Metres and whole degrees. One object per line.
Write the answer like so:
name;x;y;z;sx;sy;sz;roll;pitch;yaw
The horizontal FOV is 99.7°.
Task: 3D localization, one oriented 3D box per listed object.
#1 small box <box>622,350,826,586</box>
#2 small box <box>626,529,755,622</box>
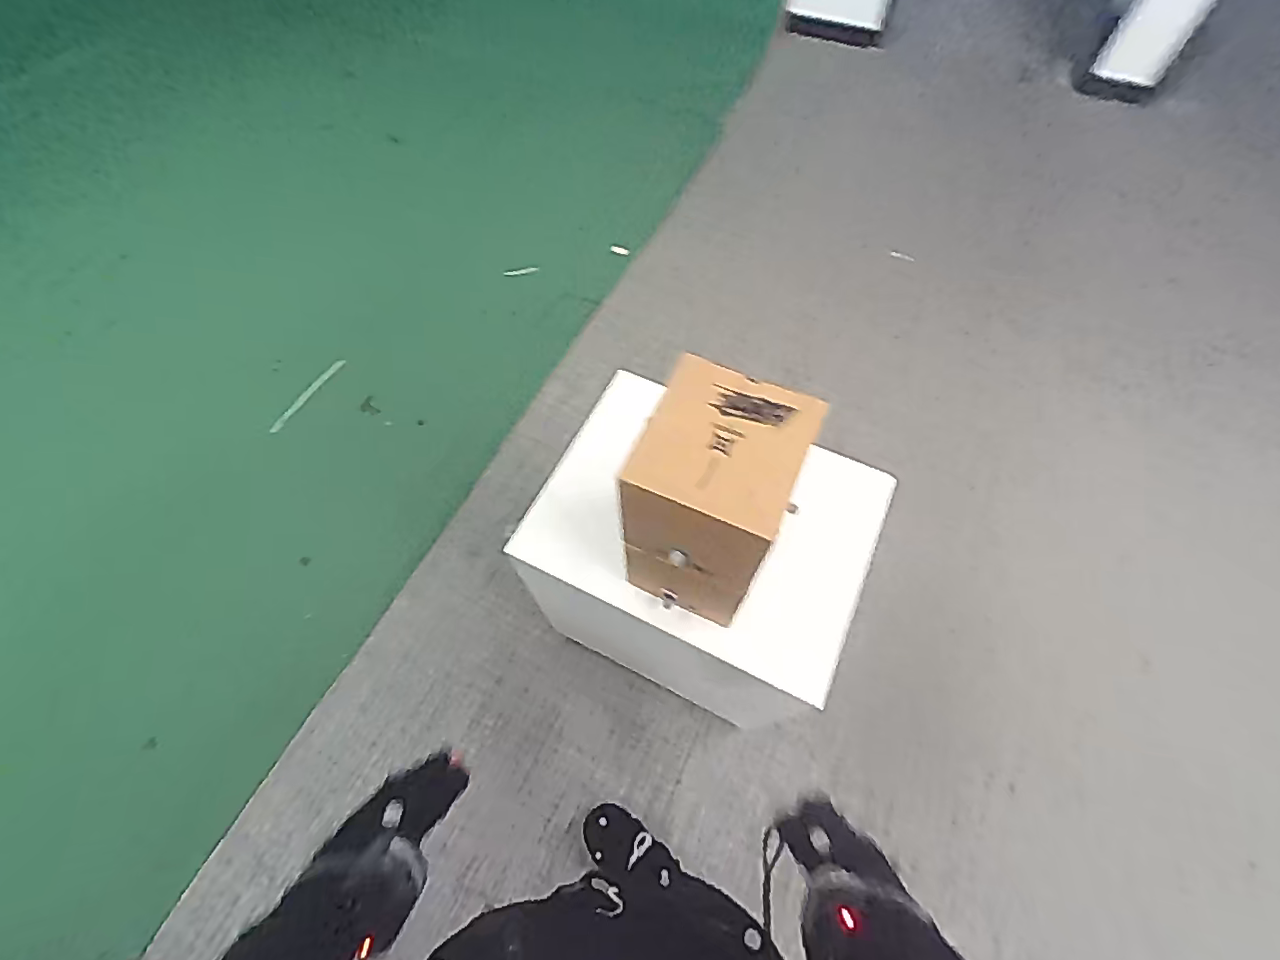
small box;0.088;-0.008;0.609;0.168;0.176;0.179;20;63;12
small box;0.092;0.072;0.752;0.168;0.176;0.179;21;66;13
